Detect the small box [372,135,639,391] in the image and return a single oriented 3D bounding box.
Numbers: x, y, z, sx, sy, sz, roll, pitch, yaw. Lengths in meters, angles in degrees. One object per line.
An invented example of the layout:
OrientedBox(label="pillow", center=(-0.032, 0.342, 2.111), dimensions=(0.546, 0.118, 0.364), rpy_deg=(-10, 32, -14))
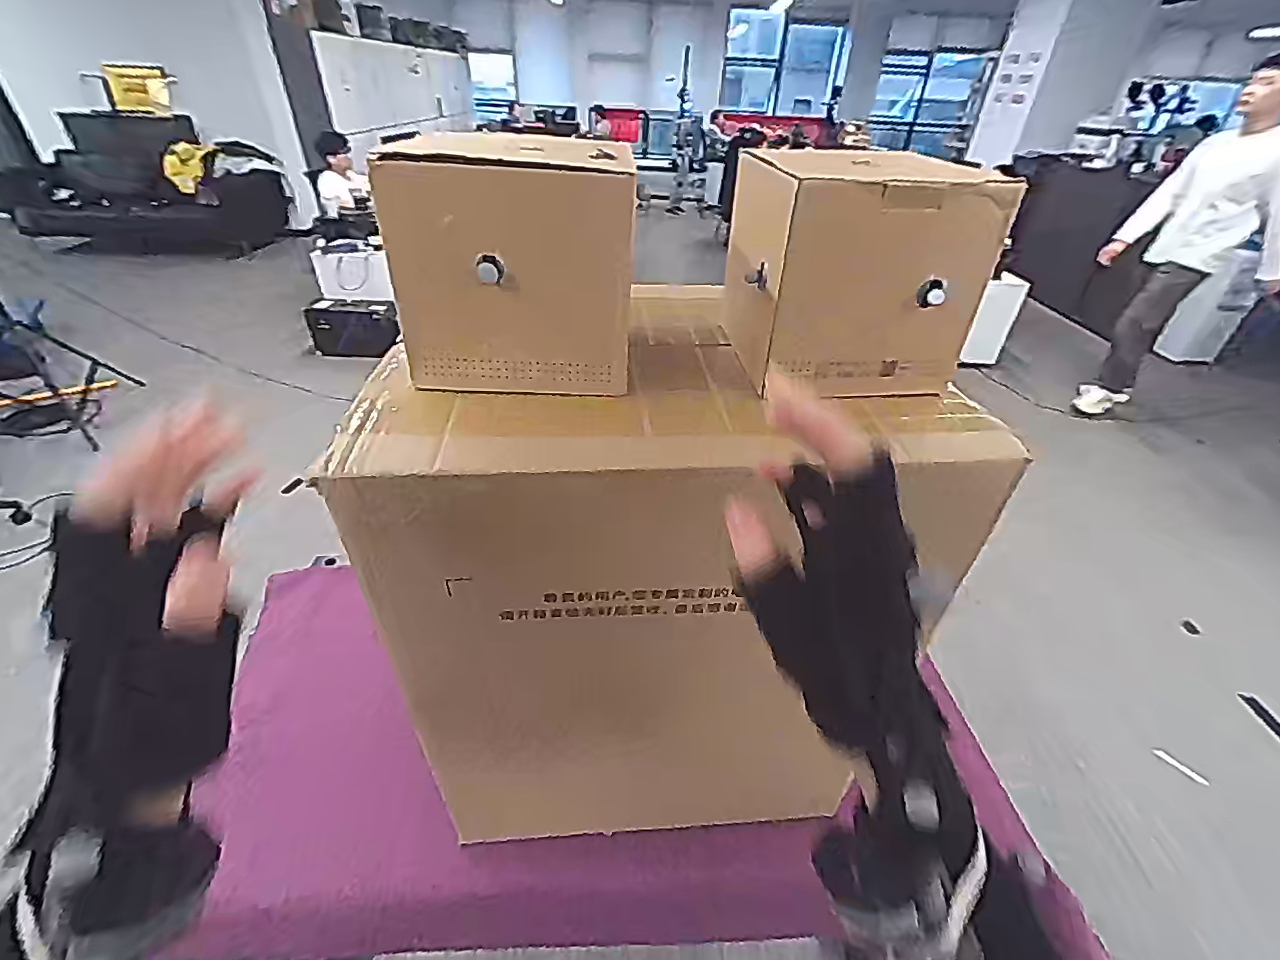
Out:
OrientedBox(label="small box", center=(-0.092, -0.186, 0.459), dimensions=(0.179, 0.176, 0.168), rpy_deg=(1, 37, -4))

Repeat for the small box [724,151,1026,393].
OrientedBox(label="small box", center=(0.179, -0.186, 0.481), dimensions=(0.168, 0.176, 0.179), rpy_deg=(-2, 35, -6))
